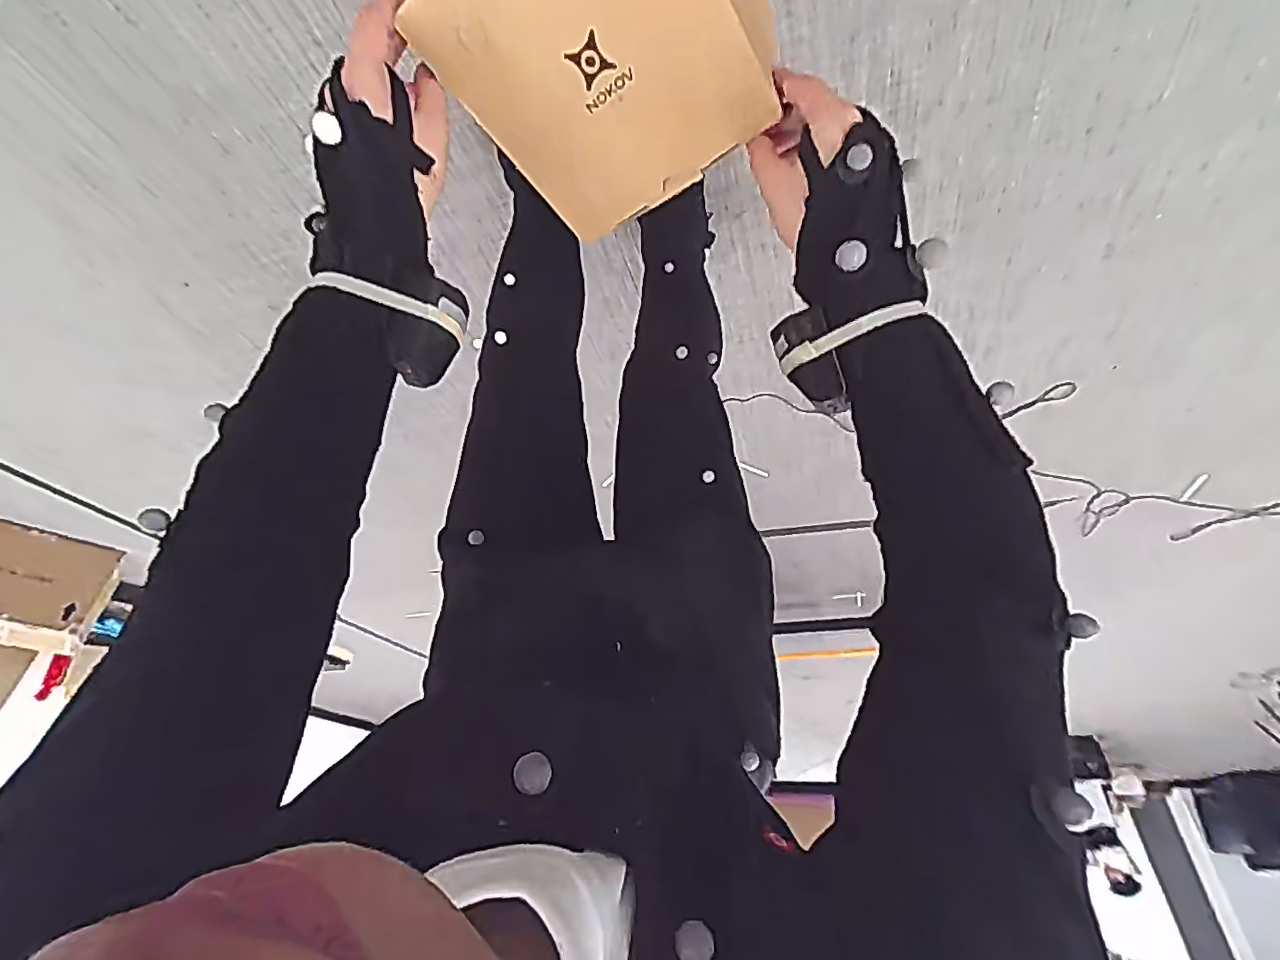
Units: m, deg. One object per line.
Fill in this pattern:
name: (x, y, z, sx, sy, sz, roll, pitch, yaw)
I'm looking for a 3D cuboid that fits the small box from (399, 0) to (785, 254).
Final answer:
small box: (-0.018, -0.304, 0.365, 0.168, 0.176, 0.179, -18, 141, 33)
